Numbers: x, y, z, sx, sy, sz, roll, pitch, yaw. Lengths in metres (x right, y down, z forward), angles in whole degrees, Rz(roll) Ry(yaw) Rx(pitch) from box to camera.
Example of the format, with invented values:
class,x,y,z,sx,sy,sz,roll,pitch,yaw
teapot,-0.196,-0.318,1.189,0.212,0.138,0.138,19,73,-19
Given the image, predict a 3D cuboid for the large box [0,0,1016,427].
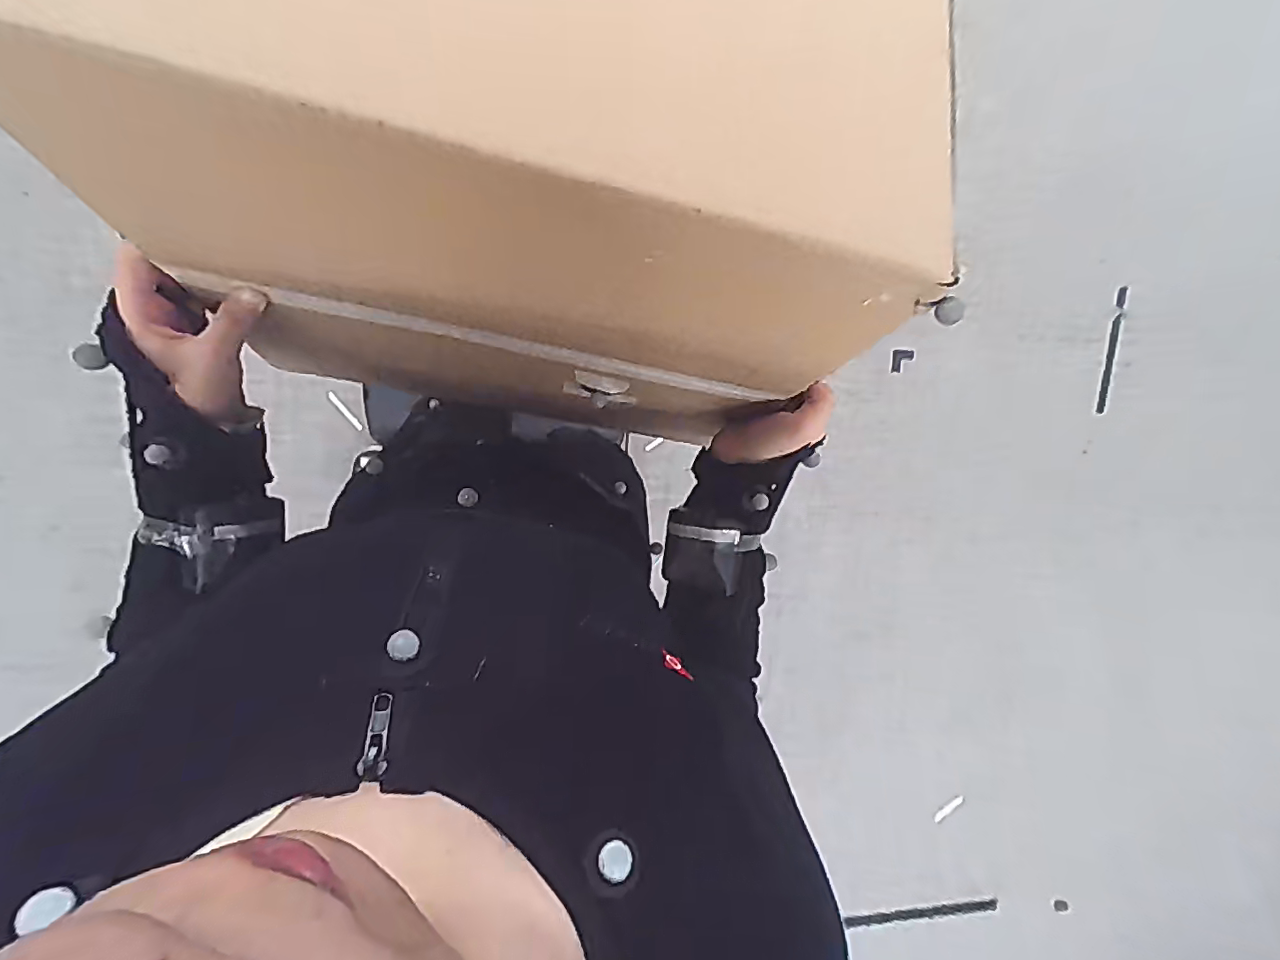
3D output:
class,x,y,z,sx,sy,sz,roll,pitch,yaw
large box,-0.054,-0.253,0.364,0.408,0.320,0.320,8,78,-11
